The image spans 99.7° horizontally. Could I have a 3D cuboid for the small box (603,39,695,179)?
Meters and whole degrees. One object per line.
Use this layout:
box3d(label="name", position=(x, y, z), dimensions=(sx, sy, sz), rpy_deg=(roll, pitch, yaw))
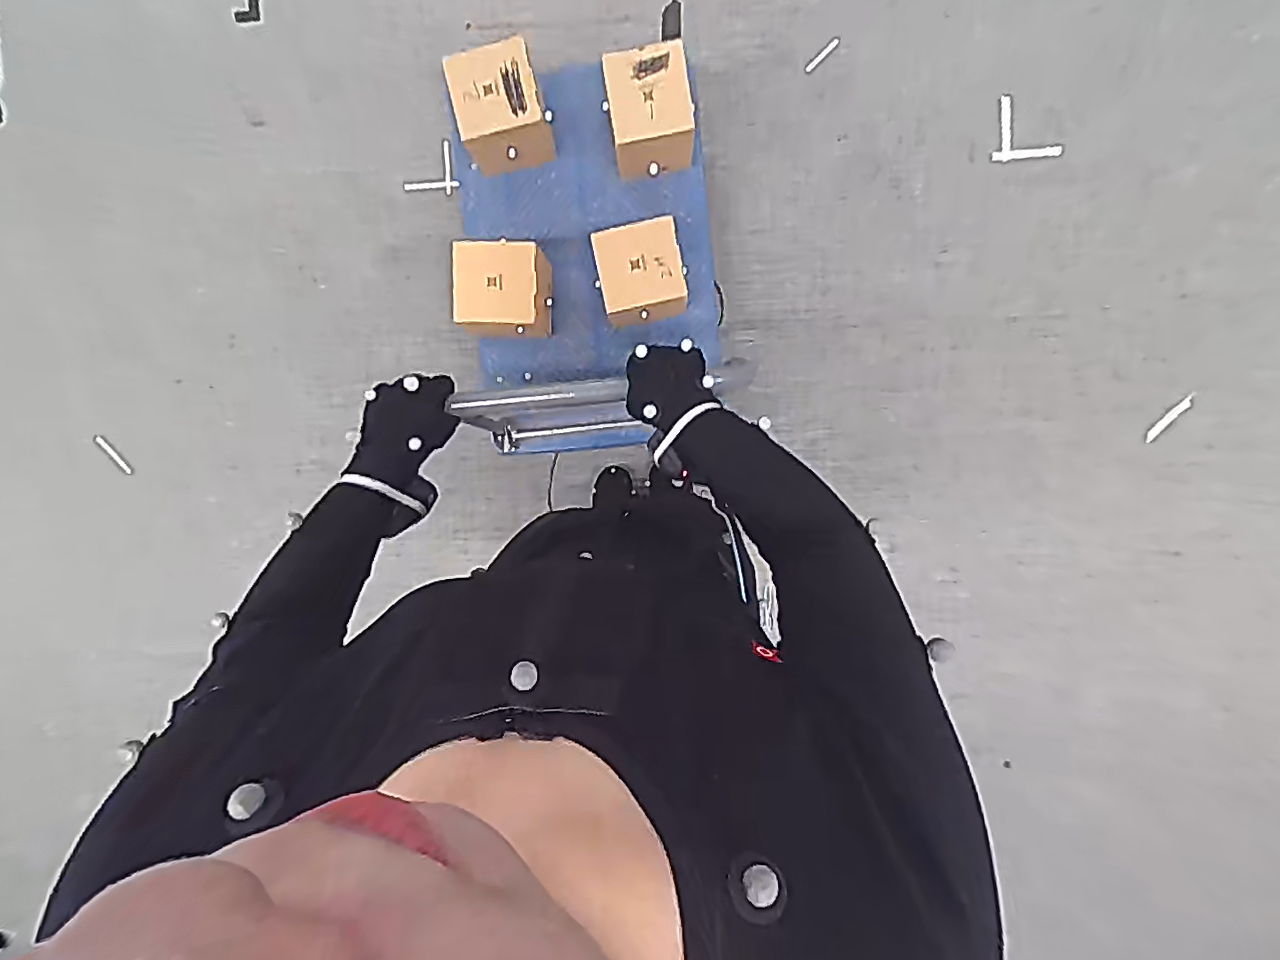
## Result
box3d(label="small box", position=(0.019, -0.782, 1.157), dimensions=(0.168, 0.176, 0.179), rpy_deg=(-9, 96, 3))

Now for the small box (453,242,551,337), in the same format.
box3d(label="small box", position=(-0.301, -0.416, 1.203), dimensions=(0.179, 0.176, 0.168), rpy_deg=(1, 95, 1))

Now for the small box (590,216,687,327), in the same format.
box3d(label="small box", position=(0.002, -0.446, 1.187), dimensions=(0.179, 0.176, 0.168), rpy_deg=(-12, 94, 4))
